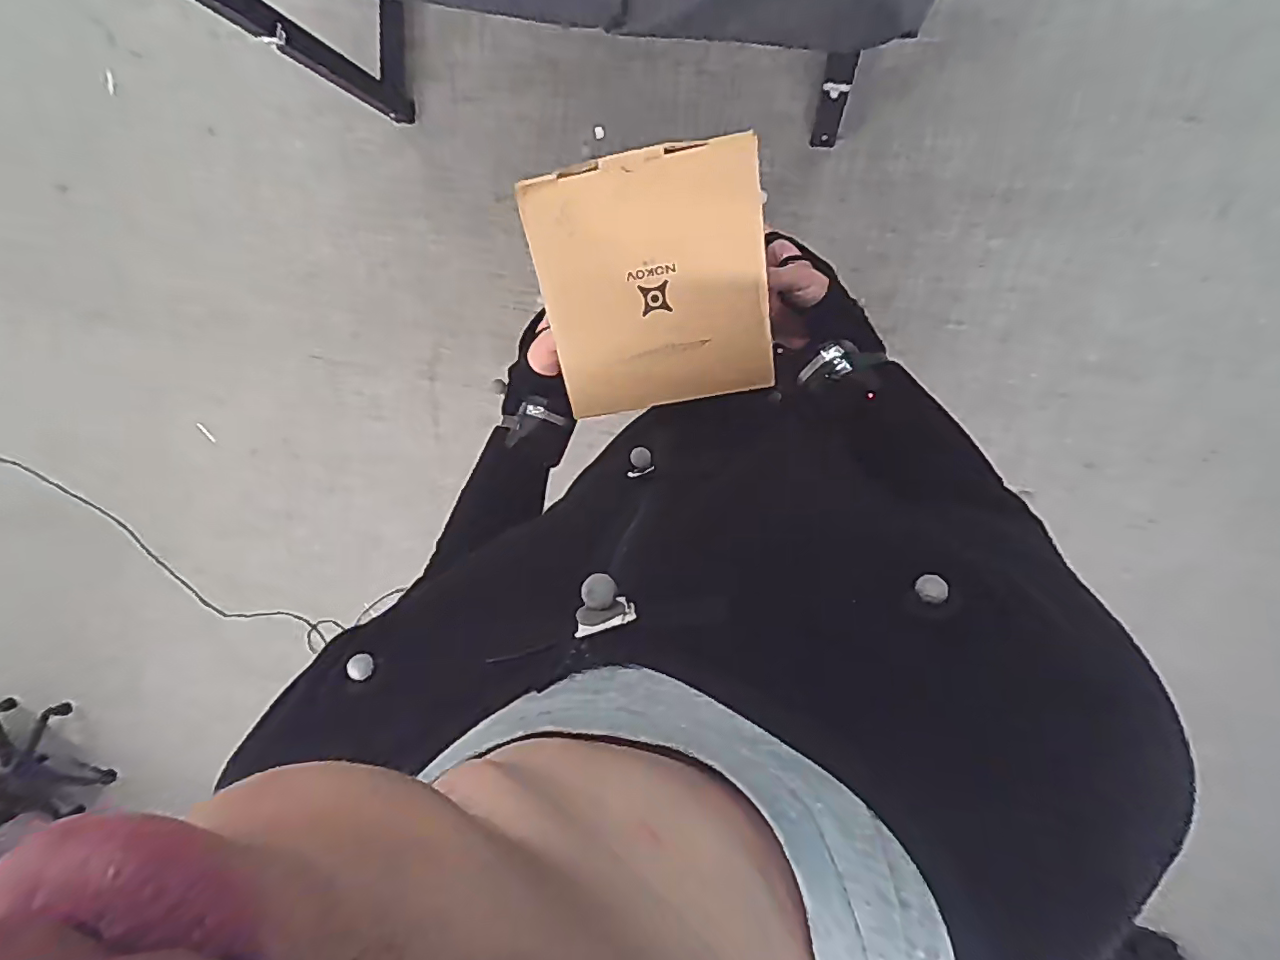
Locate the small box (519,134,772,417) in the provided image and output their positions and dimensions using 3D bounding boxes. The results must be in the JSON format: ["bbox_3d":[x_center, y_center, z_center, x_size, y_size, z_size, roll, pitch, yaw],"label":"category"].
[{"bbox_3d":[0.014,-0.175,0.464,0.168,0.176,0.179,-8,119,8],"label":"small box"}]
